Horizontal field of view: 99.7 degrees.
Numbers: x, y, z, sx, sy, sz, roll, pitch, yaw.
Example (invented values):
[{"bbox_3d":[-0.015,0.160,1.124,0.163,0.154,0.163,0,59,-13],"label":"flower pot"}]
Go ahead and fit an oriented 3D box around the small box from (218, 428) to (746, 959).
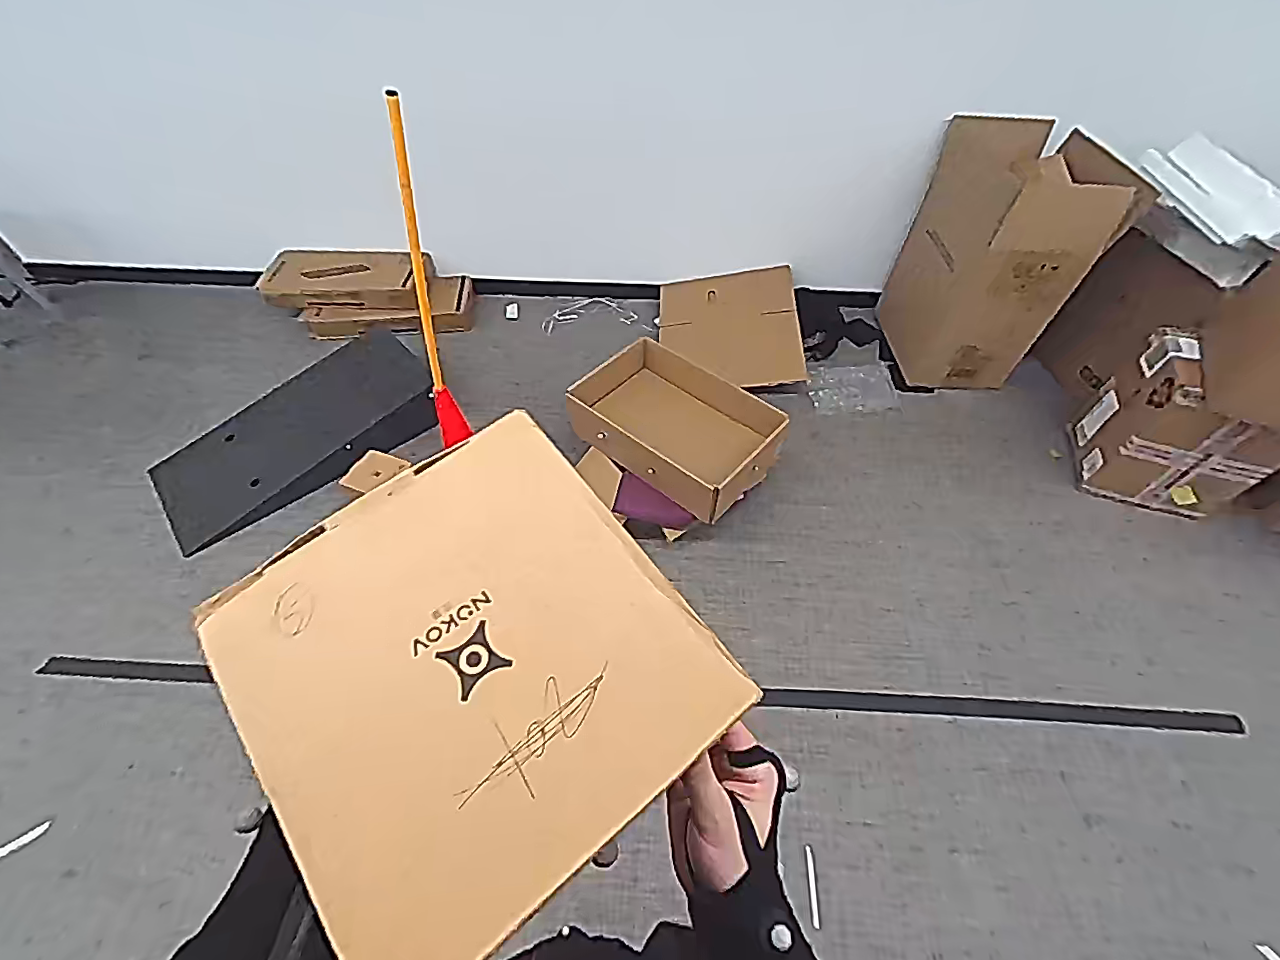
[{"bbox_3d":[-0.072,0.111,0.304,0.168,0.176,0.179,-36,70,-16],"label":"small box"}]
